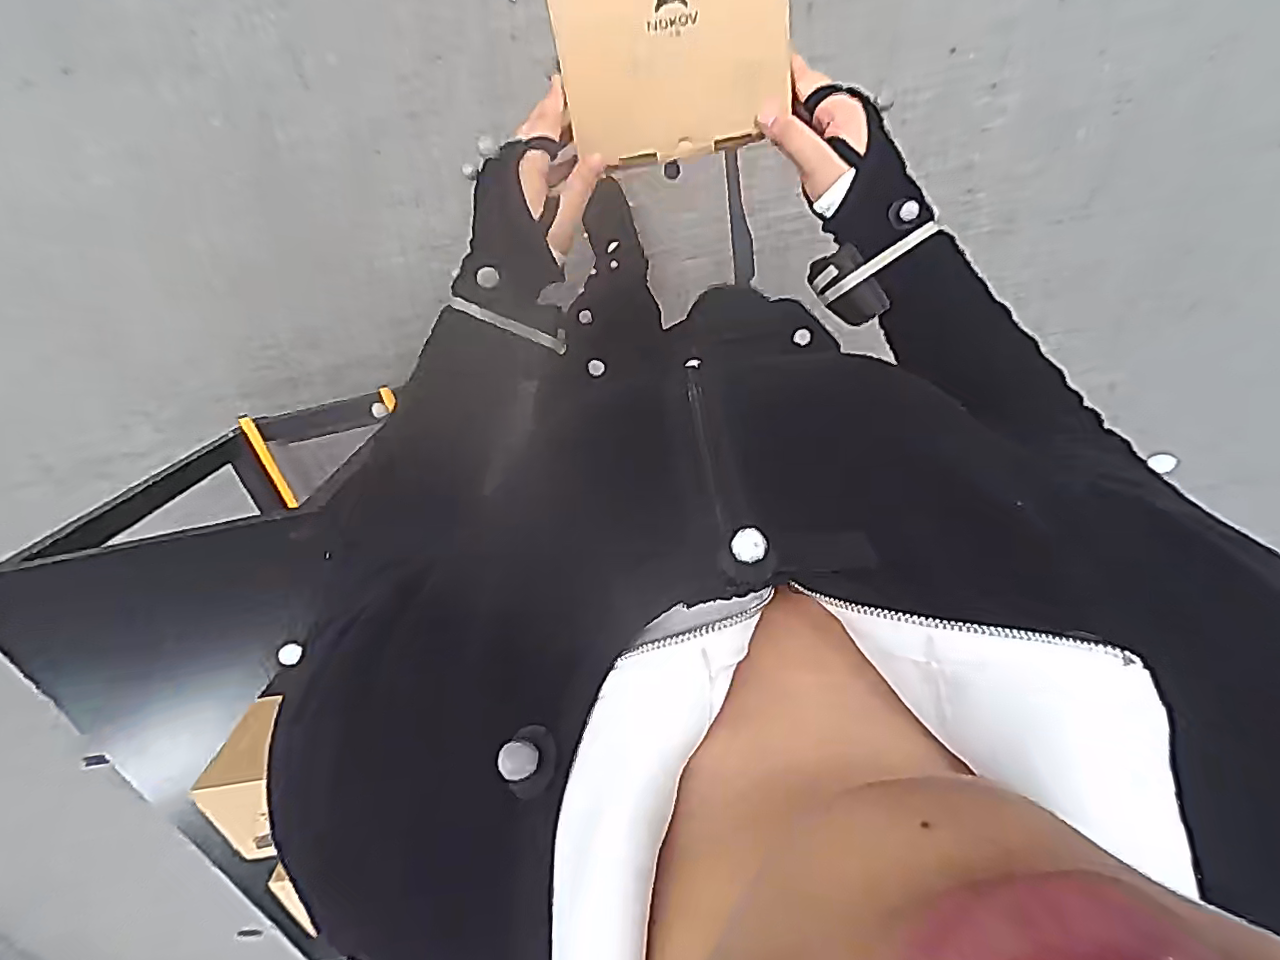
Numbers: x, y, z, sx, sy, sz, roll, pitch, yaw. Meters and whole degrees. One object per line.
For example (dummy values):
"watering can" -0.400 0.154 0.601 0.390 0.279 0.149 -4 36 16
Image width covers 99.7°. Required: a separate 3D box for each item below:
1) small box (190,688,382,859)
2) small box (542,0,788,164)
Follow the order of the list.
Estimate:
"small box" -0.552 0.470 0.876 0.168 0.176 0.179 -10 117 3
"small box" 0.012 -0.365 0.428 0.168 0.176 0.179 -10 120 1
